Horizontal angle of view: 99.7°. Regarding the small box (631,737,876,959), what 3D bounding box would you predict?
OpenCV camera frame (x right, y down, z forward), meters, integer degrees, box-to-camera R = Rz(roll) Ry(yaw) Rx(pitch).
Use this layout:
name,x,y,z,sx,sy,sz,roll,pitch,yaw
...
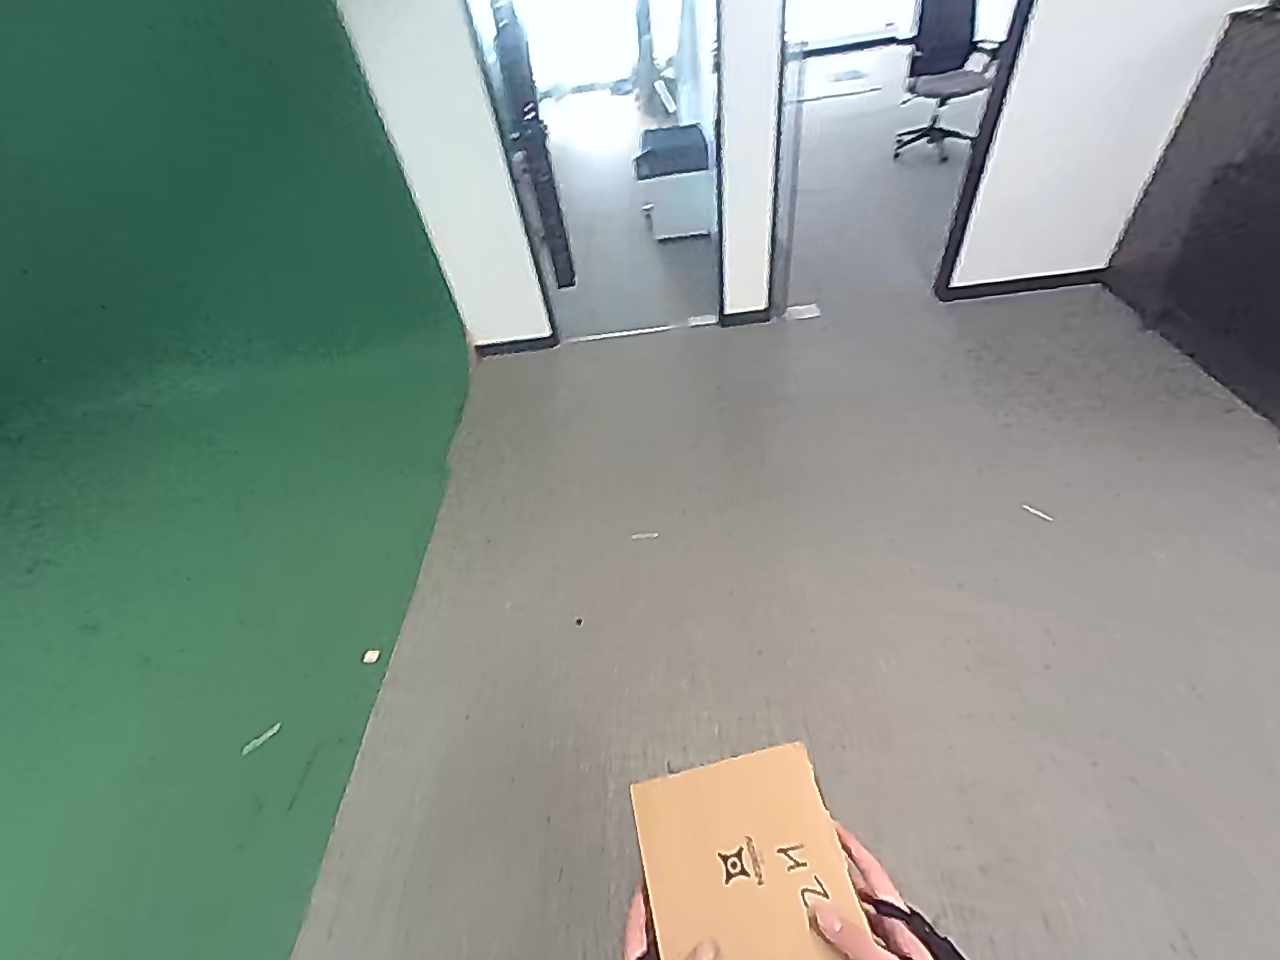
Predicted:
name,x,y,z,sx,sy,sz,roll,pitch,yaw
small box,0.099,0.375,0.536,0.179,0.176,0.168,-13,55,-1
